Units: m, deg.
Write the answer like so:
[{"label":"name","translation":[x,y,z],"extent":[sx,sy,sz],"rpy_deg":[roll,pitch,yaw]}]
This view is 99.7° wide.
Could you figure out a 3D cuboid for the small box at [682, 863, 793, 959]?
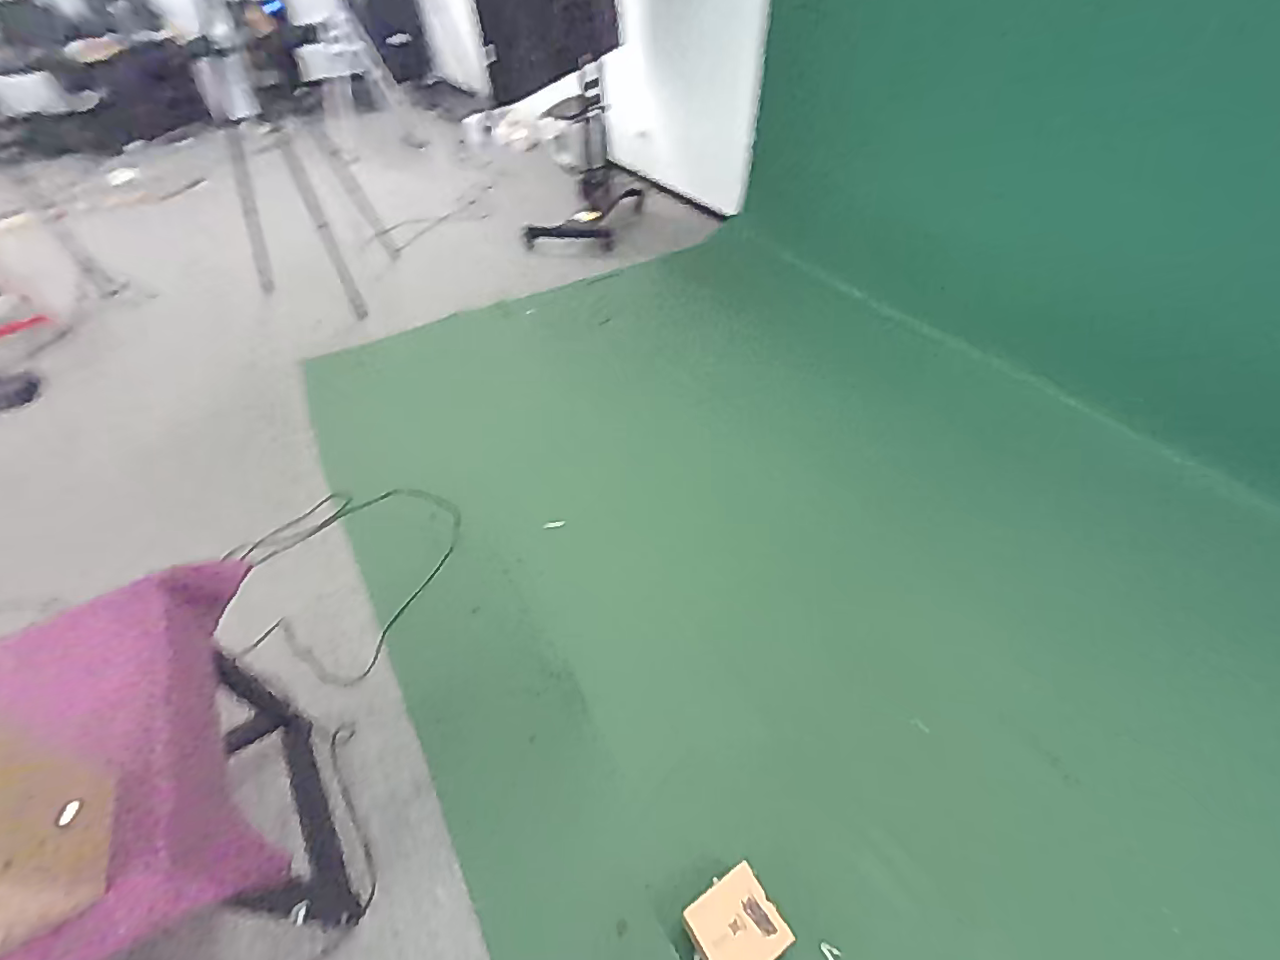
[{"label":"small box","translation":[0.204,0.995,1.194],"extent":[0.179,0.176,0.168],"rpy_deg":[-25,50,-20]}]
